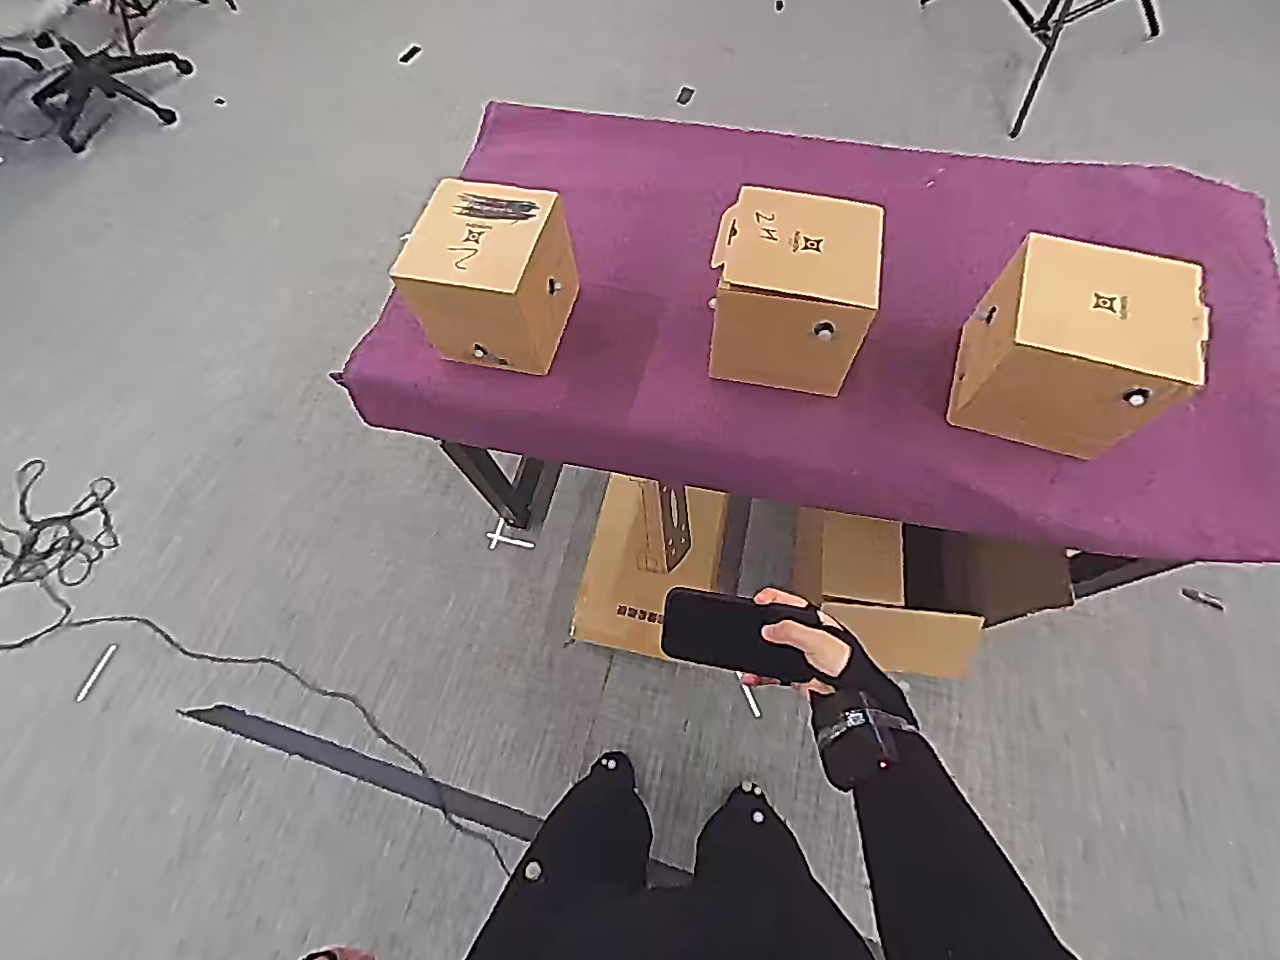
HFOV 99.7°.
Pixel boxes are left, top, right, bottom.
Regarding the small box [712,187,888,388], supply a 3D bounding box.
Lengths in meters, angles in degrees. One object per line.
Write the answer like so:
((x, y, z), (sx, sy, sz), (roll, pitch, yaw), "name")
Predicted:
((0.197, -0.238, 0.694), (0.179, 0.176, 0.168), (10, 65, 9), "small box")

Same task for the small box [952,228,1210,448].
((0.500, -0.159, 0.639), (0.179, 0.176, 0.168), (17, 68, 11), "small box")
